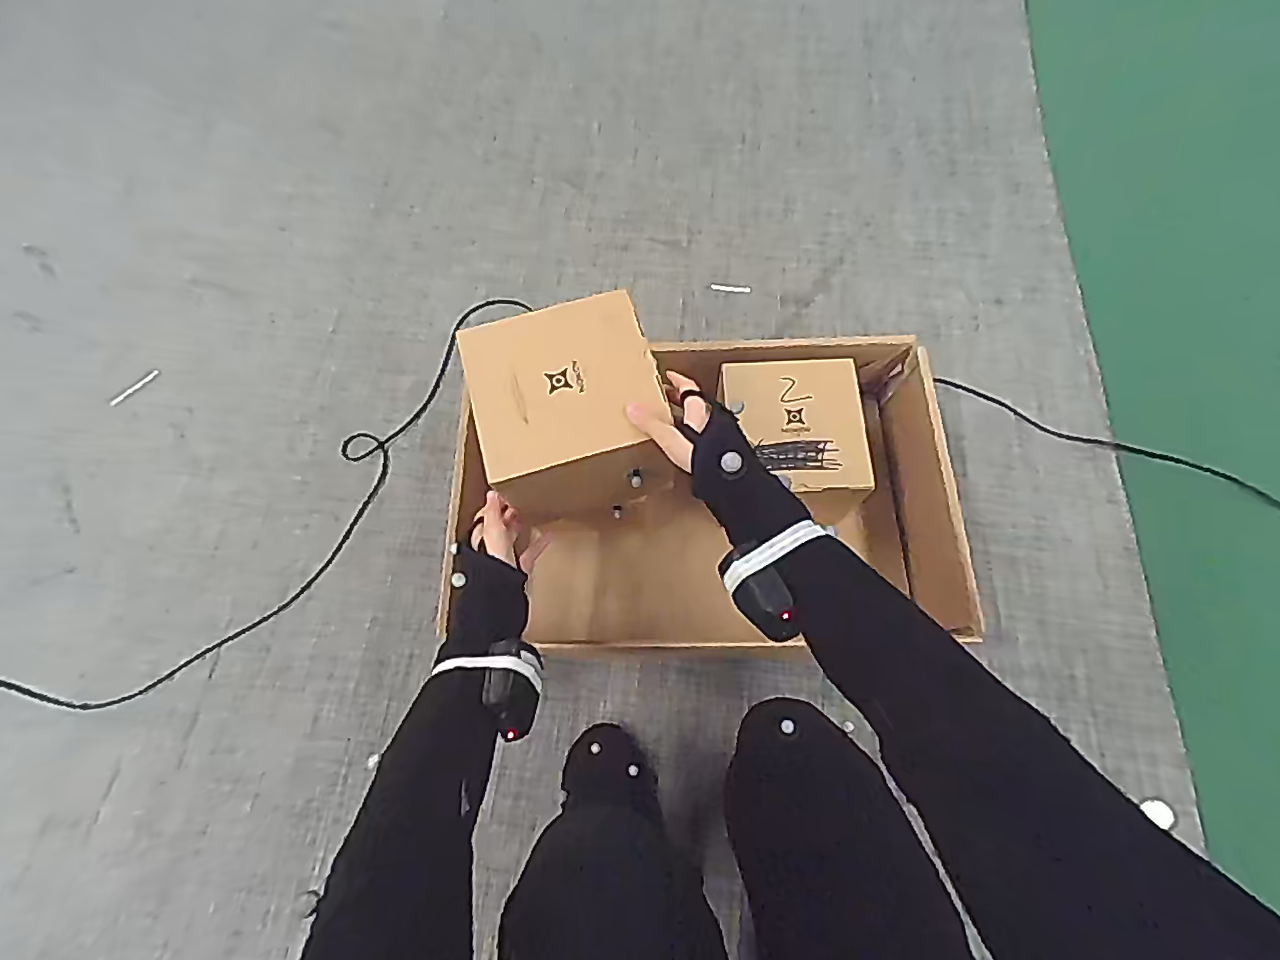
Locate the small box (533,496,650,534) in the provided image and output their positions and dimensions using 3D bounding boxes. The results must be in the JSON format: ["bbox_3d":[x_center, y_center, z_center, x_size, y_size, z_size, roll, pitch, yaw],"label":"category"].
[{"bbox_3d":[-0.074,-0.025,0.737,0.179,0.176,0.168,0,71,1],"label":"small box"}]

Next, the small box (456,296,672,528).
[{"bbox_3d":[-0.073,-0.061,0.579,0.179,0.176,0.168,-15,71,-3],"label":"small box"}]
